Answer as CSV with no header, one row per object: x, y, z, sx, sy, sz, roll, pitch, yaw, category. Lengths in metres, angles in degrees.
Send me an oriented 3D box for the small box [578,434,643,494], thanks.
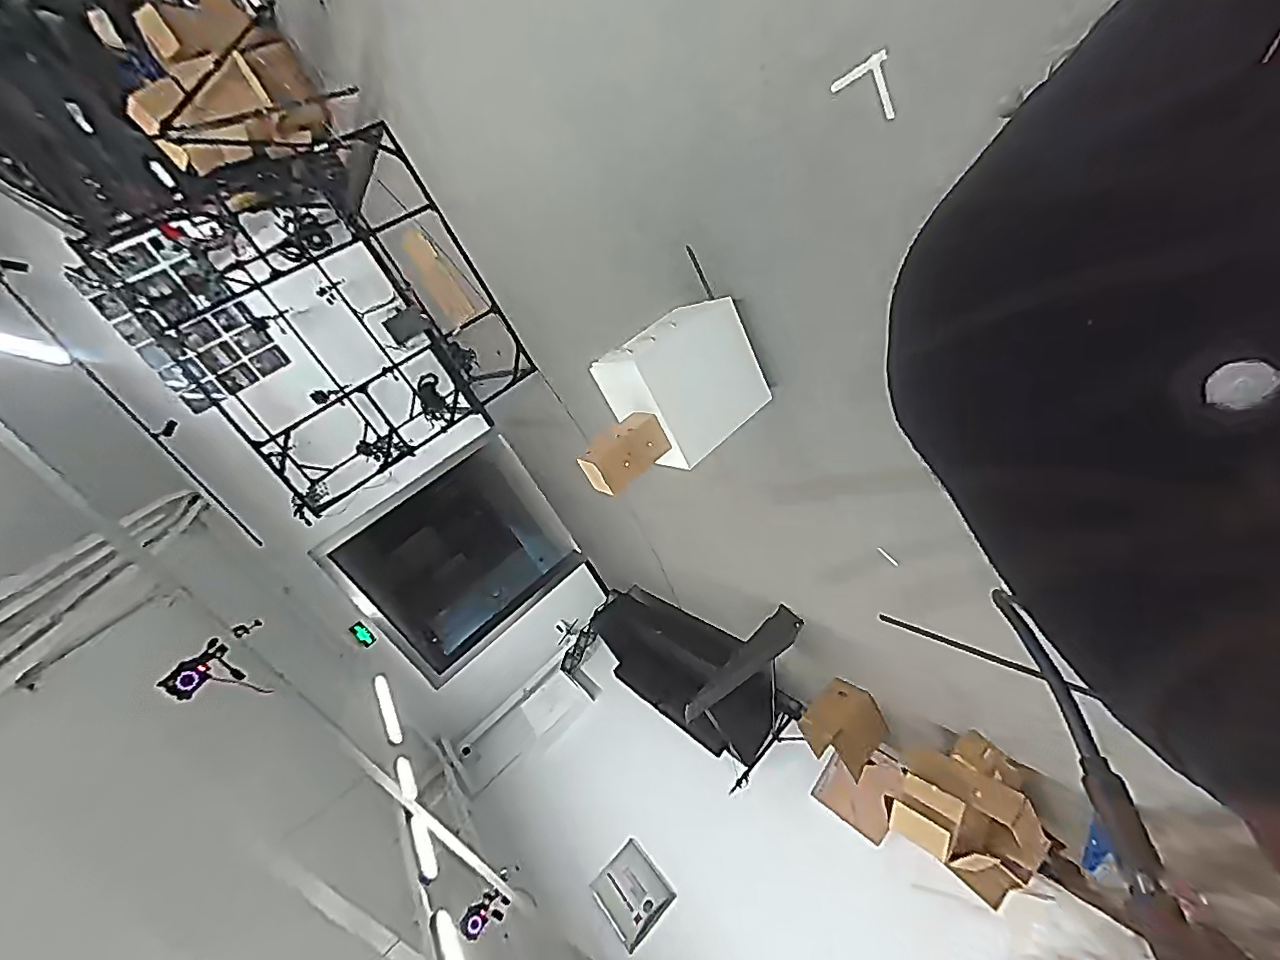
-0.118,-0.071,2.210,0.179,0.176,0.168,18,144,55,small box
